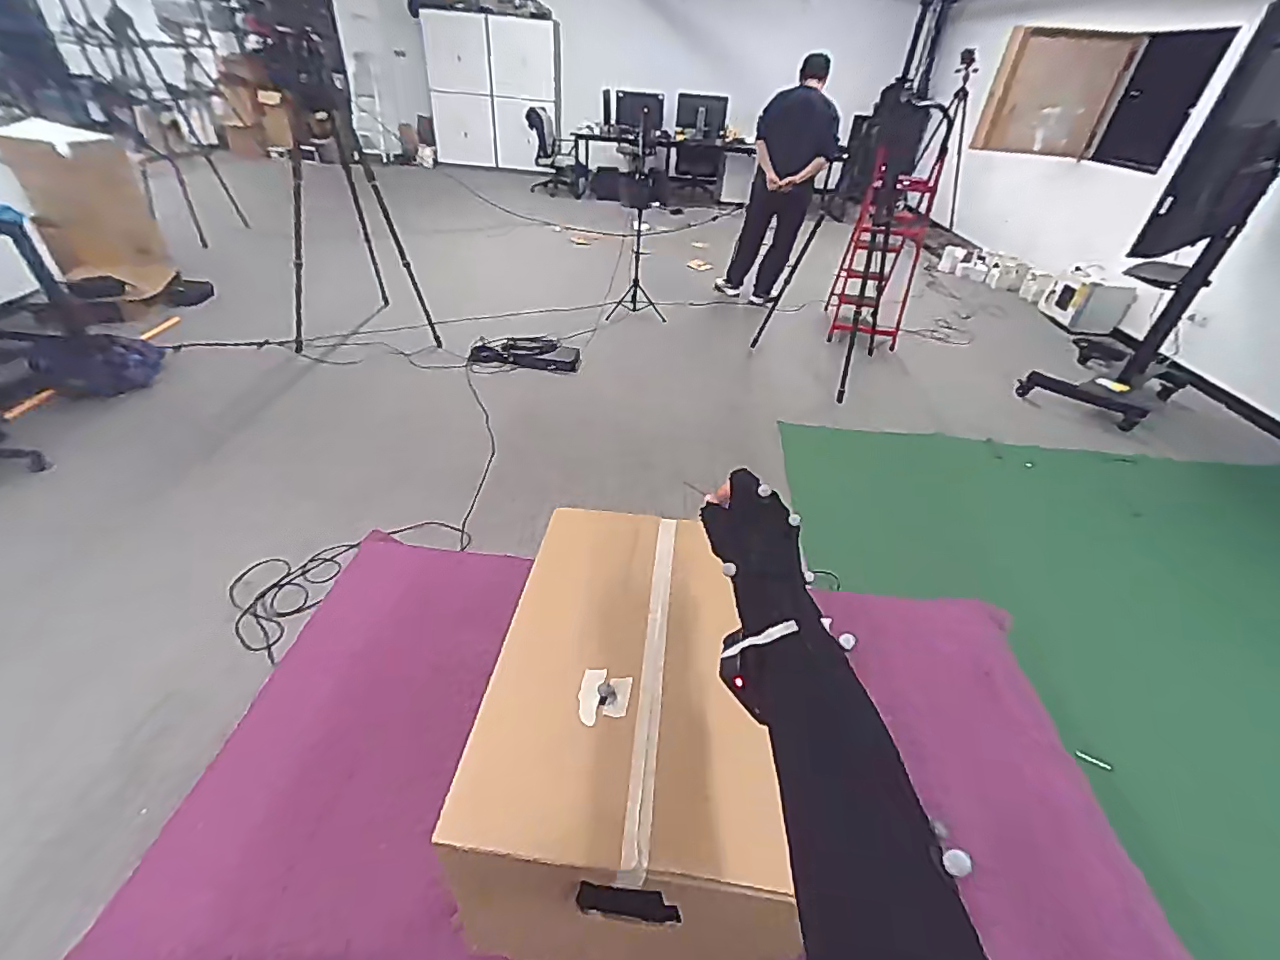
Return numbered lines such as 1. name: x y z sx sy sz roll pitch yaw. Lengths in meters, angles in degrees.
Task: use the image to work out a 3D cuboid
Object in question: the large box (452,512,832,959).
1. large box: 0.005 0.300 0.670 0.320 0.320 0.408 7 38 3
